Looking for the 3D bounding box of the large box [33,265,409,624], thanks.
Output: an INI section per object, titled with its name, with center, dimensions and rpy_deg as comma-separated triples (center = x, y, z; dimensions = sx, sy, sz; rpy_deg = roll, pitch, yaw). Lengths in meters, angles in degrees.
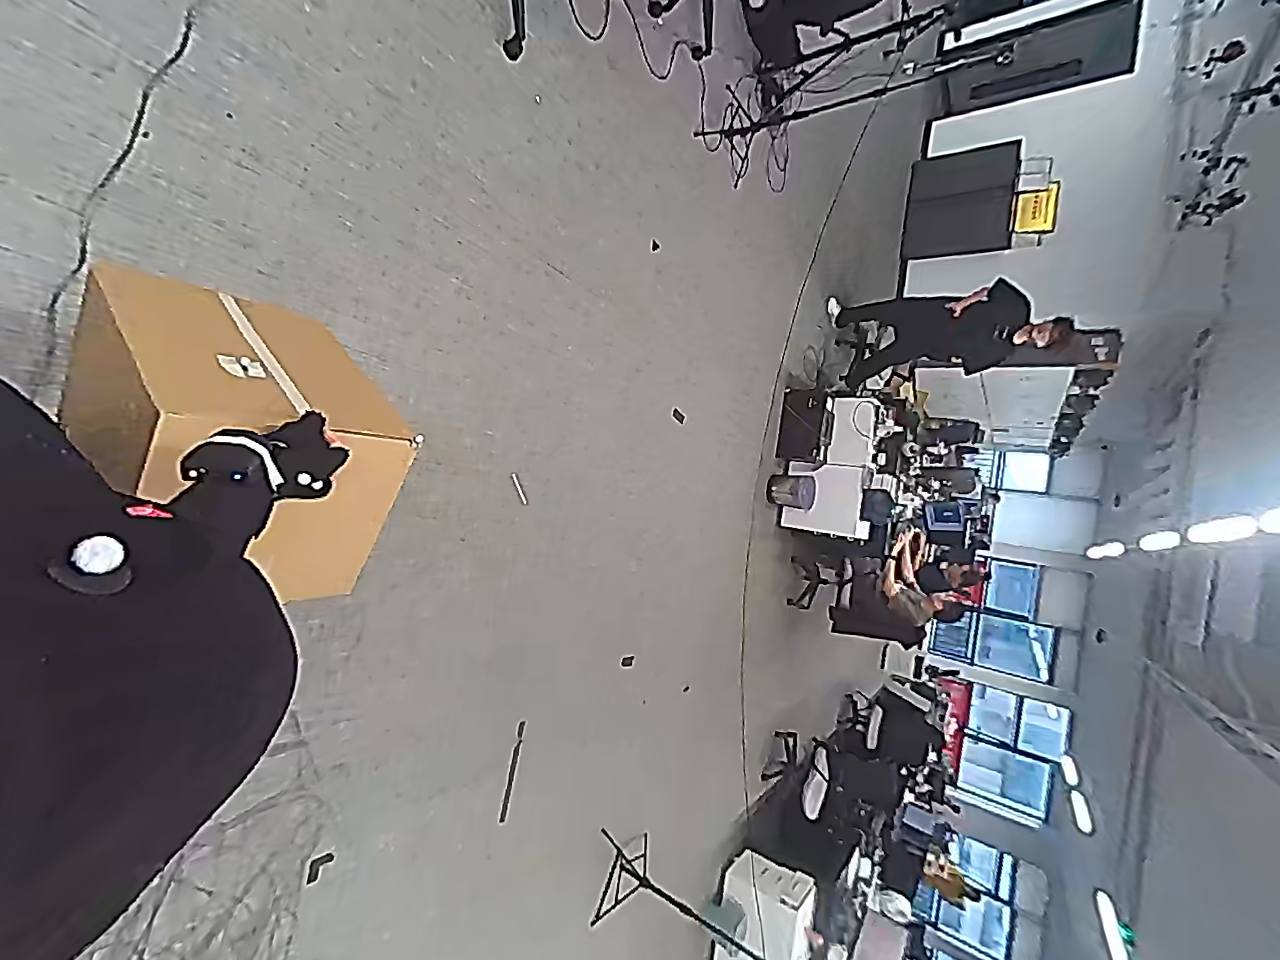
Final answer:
[large box]
center = -0.642, -0.054, 0.827
dimensions = 0.320, 0.408, 0.320
rpy_deg = 2, 125, -57
